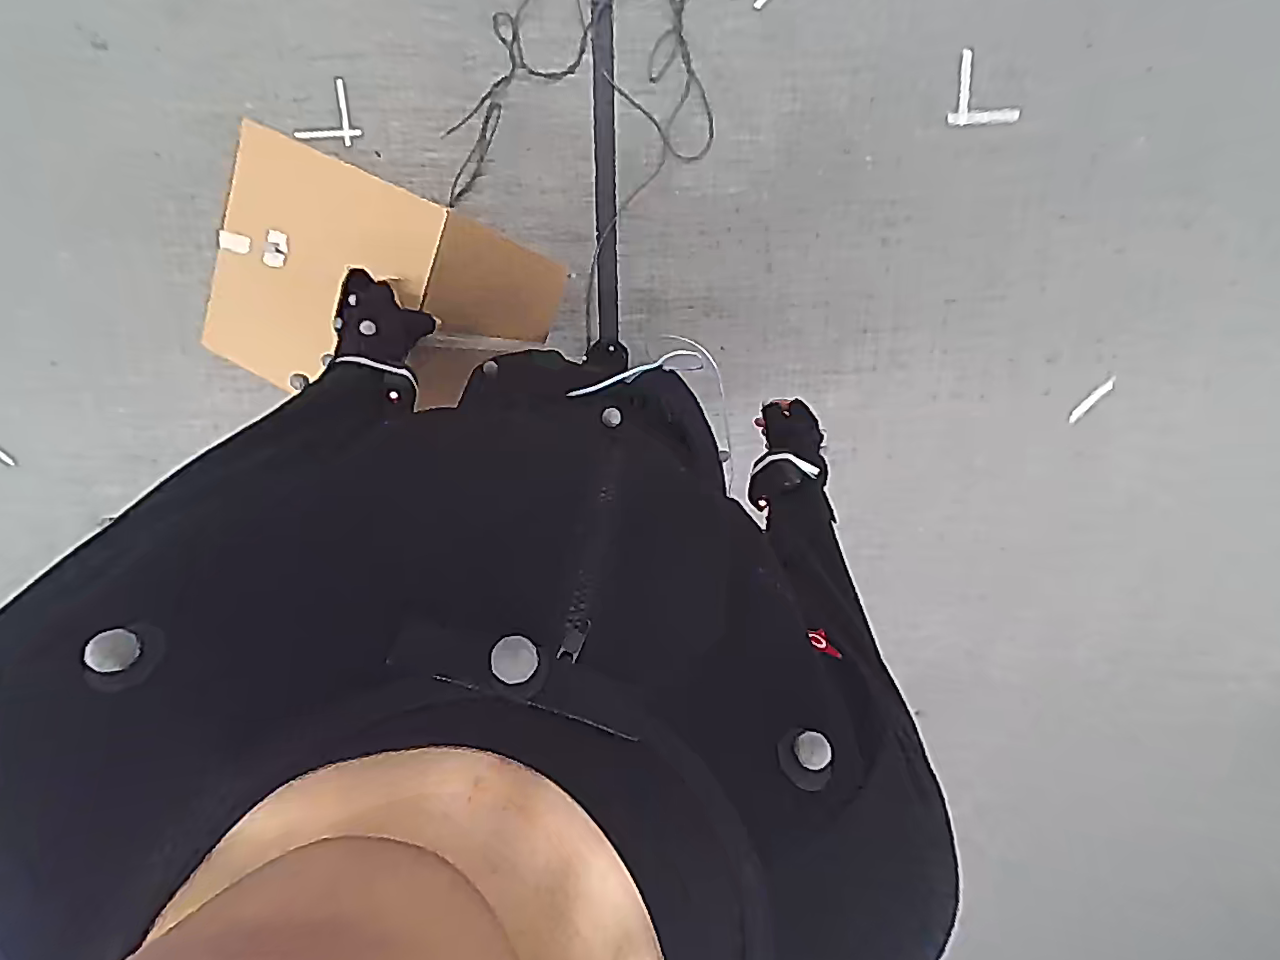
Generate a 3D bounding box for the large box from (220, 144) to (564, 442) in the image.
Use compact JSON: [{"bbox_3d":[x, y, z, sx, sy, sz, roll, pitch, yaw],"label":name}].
[{"bbox_3d":[-0.383,-0.290,0.908,0.320,0.408,0.320,27,107,8],"label":"large box"}]
